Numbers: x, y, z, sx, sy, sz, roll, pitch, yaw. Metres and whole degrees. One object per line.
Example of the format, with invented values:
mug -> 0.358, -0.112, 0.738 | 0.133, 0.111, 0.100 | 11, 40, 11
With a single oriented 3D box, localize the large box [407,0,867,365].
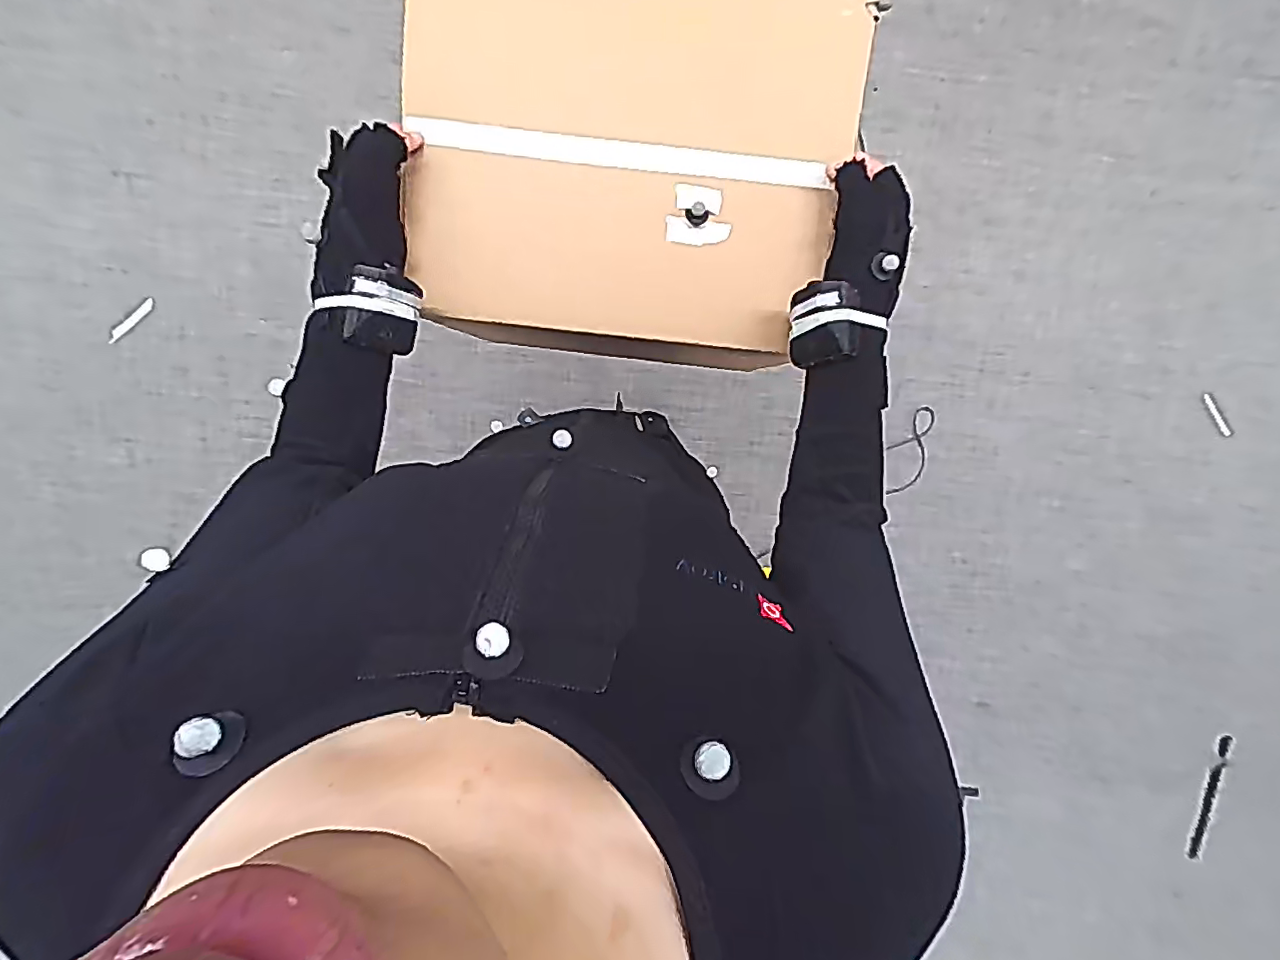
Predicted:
large box -> -0.014, -0.318, 0.639 | 0.408, 0.320, 0.320 | 6, 99, -2
